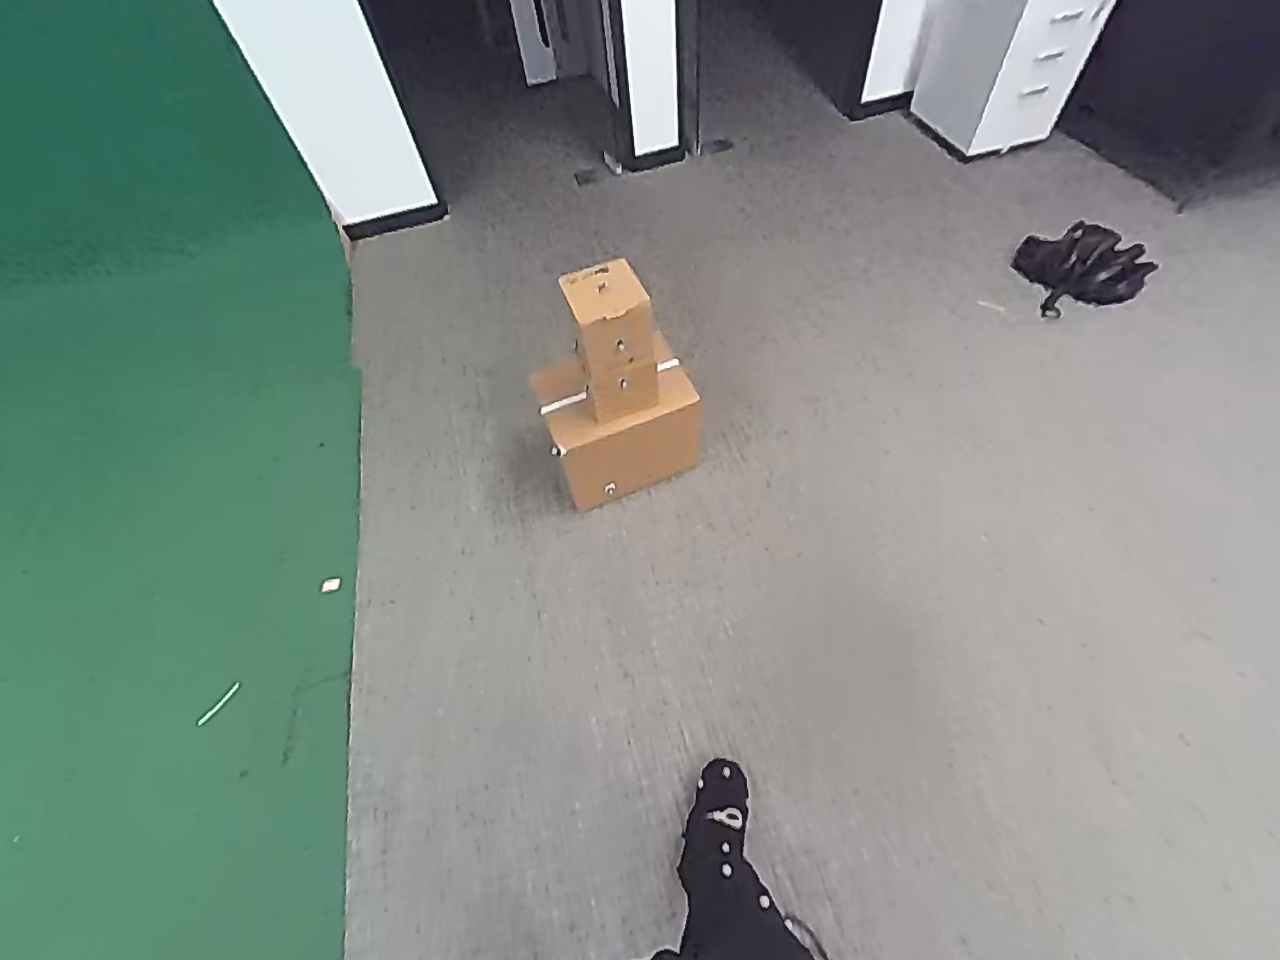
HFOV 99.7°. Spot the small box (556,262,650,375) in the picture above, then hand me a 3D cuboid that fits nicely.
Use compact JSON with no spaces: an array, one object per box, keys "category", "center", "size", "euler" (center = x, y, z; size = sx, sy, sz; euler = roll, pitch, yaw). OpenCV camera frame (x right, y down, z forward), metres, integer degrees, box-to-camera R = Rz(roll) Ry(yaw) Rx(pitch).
[{"category":"small box","center":[-0.081,-0.367,1.262],"size":[0.168,0.176,0.179],"euler":[-20,58,-7]}]

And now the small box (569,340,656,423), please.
[{"category":"small box","center":[-0.067,-0.272,1.394],"size":[0.179,0.176,0.168],"euler":[-19,58,-9]}]
